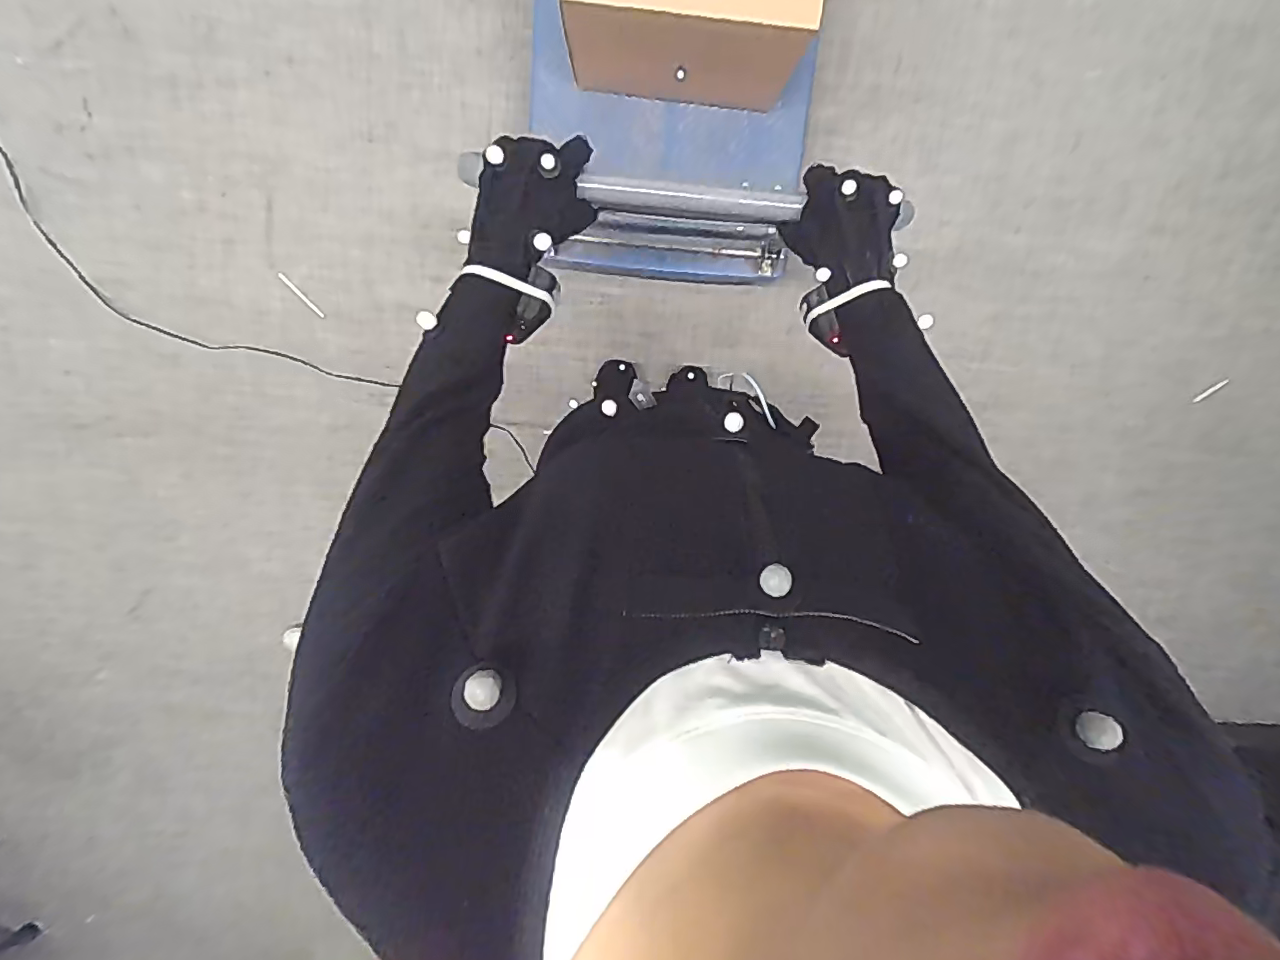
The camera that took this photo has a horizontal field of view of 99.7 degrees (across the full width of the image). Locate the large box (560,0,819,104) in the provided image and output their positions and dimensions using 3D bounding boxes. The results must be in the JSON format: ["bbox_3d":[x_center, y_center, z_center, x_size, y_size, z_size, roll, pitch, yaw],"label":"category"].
[{"bbox_3d":[0.088,-0.901,0.939,0.408,0.320,0.320,5,103,-1],"label":"large box"}]
